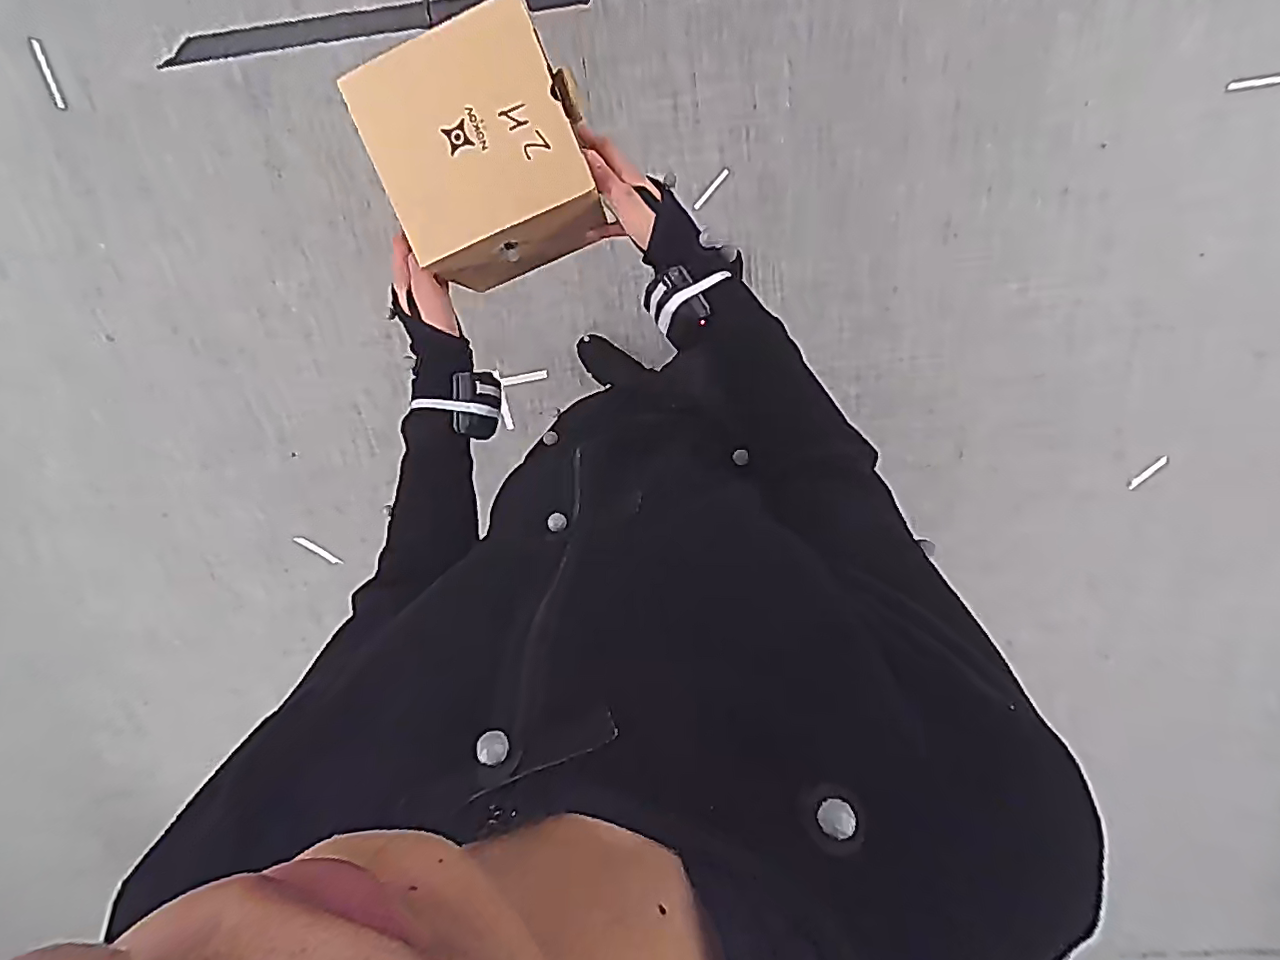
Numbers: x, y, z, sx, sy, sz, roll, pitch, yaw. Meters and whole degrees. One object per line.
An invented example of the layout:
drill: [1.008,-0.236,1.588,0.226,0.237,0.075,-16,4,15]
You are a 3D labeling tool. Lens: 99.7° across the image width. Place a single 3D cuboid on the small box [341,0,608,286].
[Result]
small box: [-0.144,-0.312,0.541,0.179,0.176,0.168,-21,100,6]
